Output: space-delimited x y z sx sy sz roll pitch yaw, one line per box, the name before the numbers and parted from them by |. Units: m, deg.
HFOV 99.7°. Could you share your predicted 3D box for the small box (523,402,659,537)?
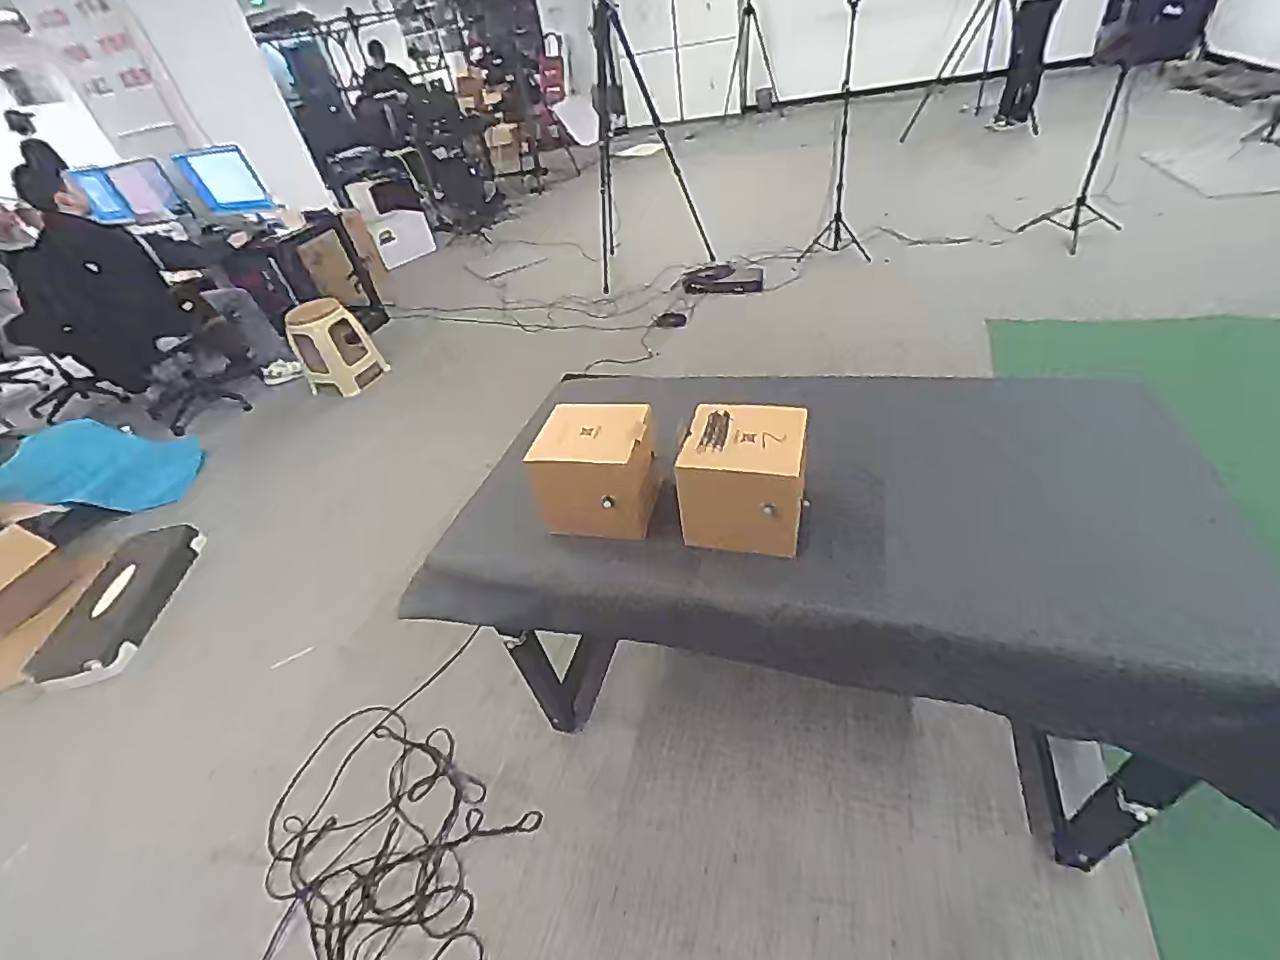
small box | -0.071 -0.018 0.929 0.179 0.176 0.168 2 40 16
